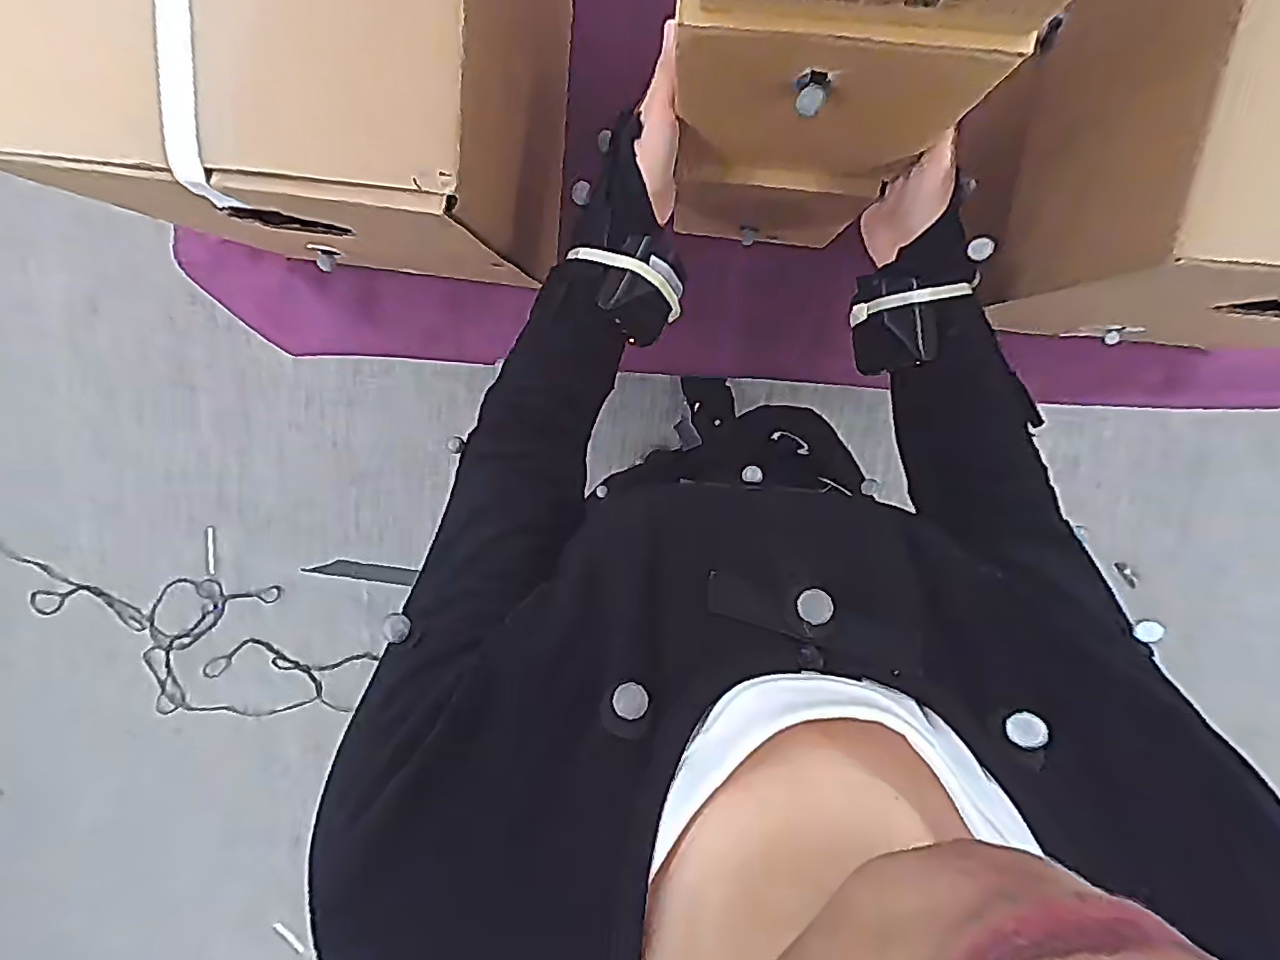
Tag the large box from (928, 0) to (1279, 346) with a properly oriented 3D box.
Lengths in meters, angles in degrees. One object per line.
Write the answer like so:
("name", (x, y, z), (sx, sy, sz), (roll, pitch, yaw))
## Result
("large box", (0.463, -0.323, 0.401), (0.320, 0.320, 0.408), (6, 100, 2))
